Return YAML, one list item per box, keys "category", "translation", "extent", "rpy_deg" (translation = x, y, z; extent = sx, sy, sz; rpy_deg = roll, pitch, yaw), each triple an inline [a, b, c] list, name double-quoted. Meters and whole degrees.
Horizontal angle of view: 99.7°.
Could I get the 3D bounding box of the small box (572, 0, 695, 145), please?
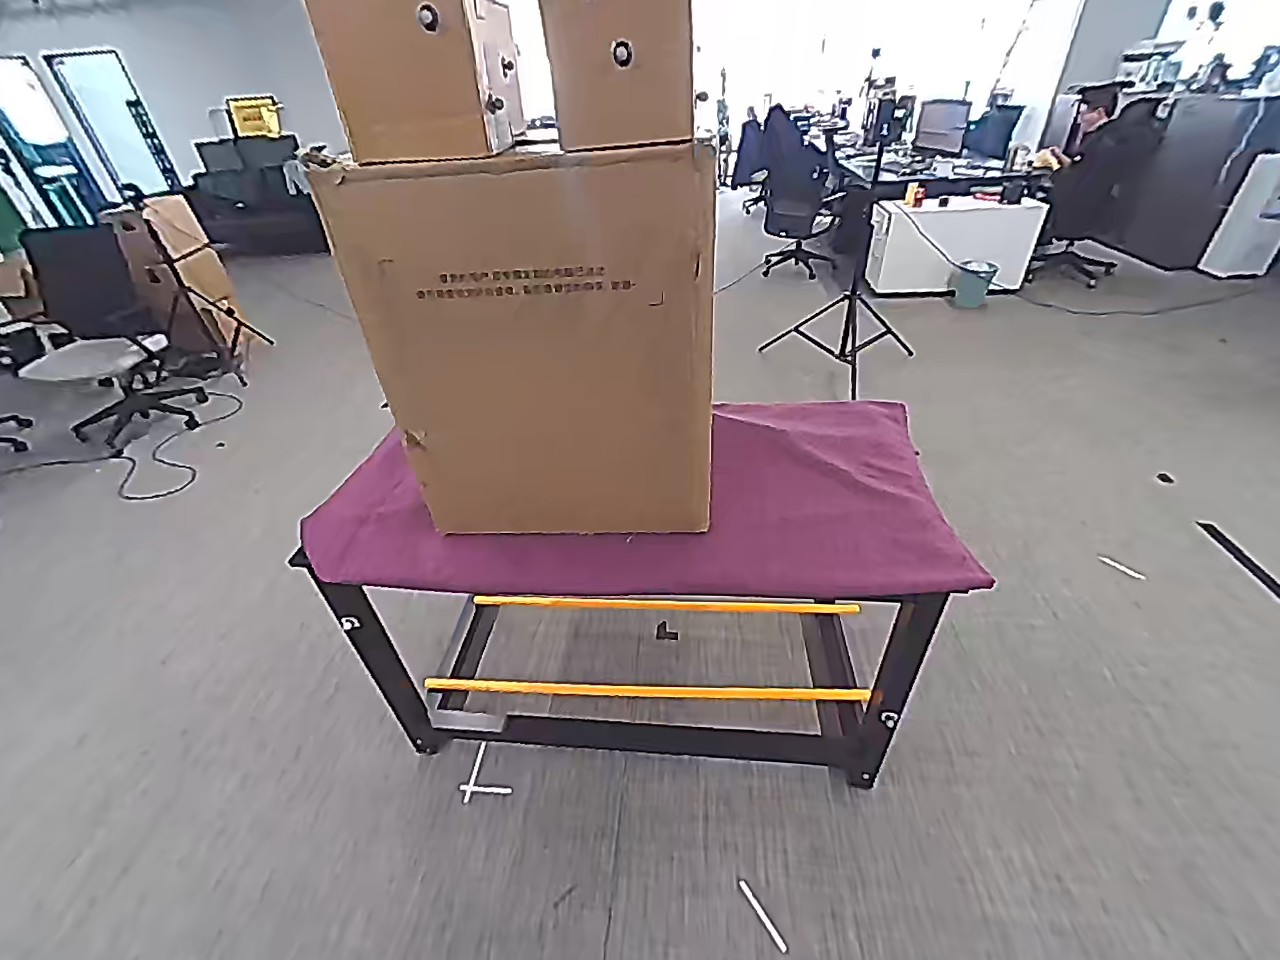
- category: "small box"
  translation: [0.000, -0.631, 0.845]
  extent: [0.168, 0.176, 0.179]
  rpy_deg: [0, 36, 7]
